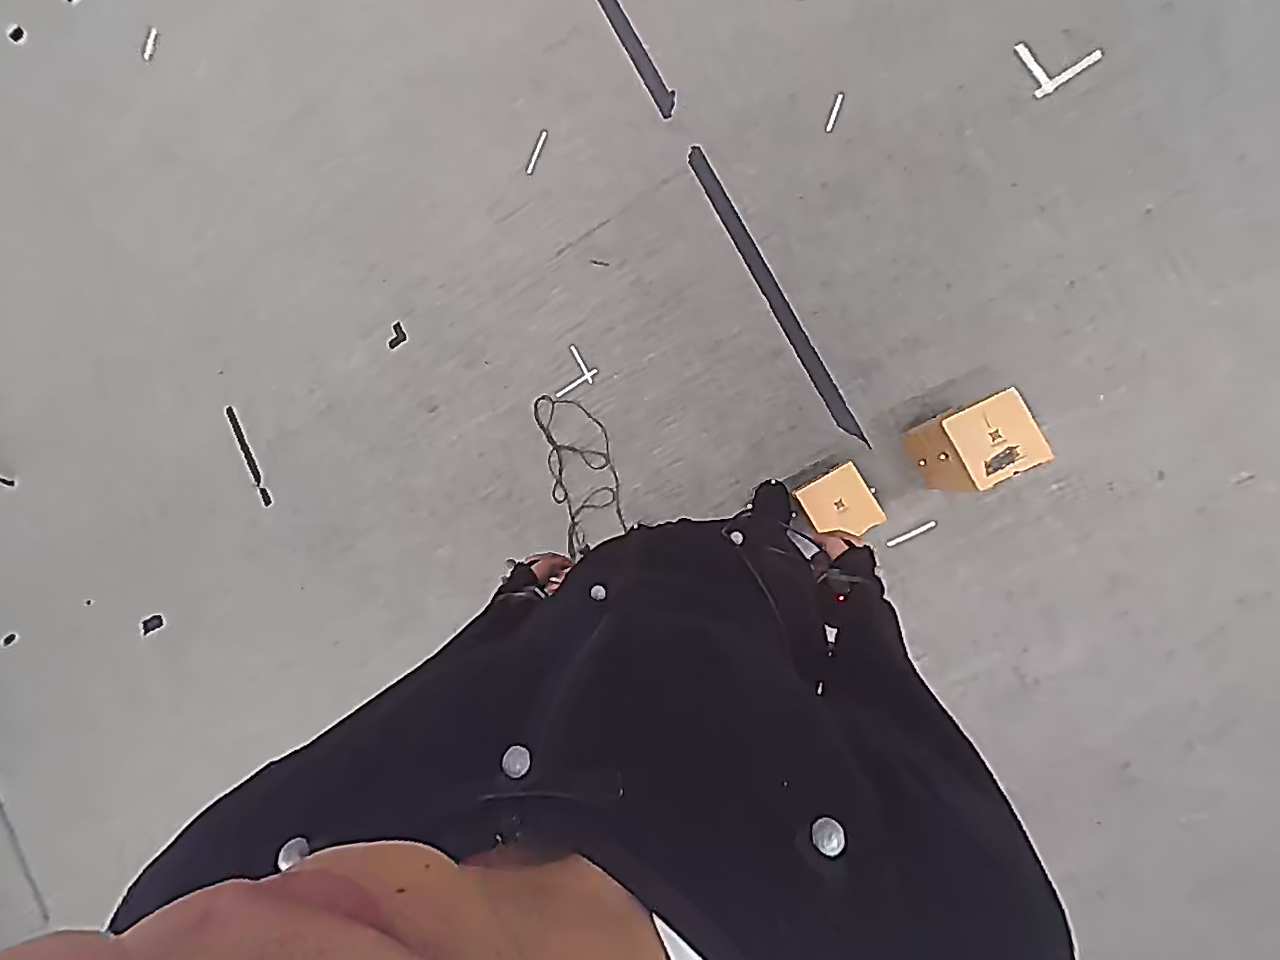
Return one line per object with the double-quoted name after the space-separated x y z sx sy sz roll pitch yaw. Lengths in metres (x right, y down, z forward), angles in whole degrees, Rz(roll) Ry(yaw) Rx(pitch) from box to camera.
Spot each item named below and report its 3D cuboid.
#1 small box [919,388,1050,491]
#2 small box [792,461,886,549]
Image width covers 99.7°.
0.781 -0.088 1.245 0.168 0.176 0.179 -28 84 10 "small box"
0.529 0.067 1.468 0.168 0.176 0.179 -32 84 10 "small box"
